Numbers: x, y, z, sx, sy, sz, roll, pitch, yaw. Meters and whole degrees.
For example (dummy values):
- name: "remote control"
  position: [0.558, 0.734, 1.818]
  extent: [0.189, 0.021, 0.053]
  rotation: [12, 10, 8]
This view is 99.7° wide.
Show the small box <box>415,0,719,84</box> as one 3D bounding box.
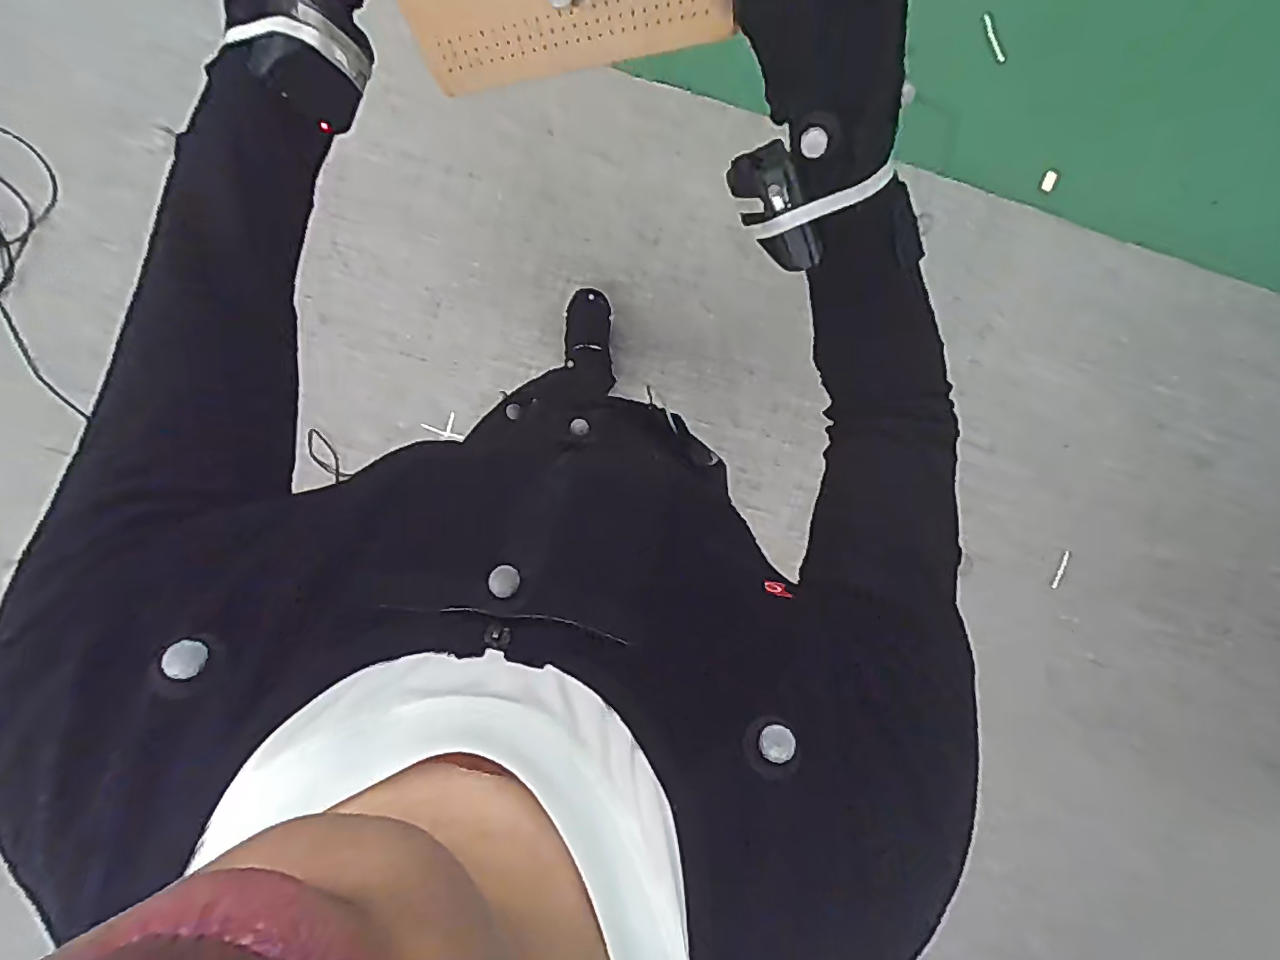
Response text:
- name: "small box"
  position: [-0.042, -0.351, 0.282]
  extent: [0.179, 0.176, 0.168]
  rotation: [-3, 61, 12]
